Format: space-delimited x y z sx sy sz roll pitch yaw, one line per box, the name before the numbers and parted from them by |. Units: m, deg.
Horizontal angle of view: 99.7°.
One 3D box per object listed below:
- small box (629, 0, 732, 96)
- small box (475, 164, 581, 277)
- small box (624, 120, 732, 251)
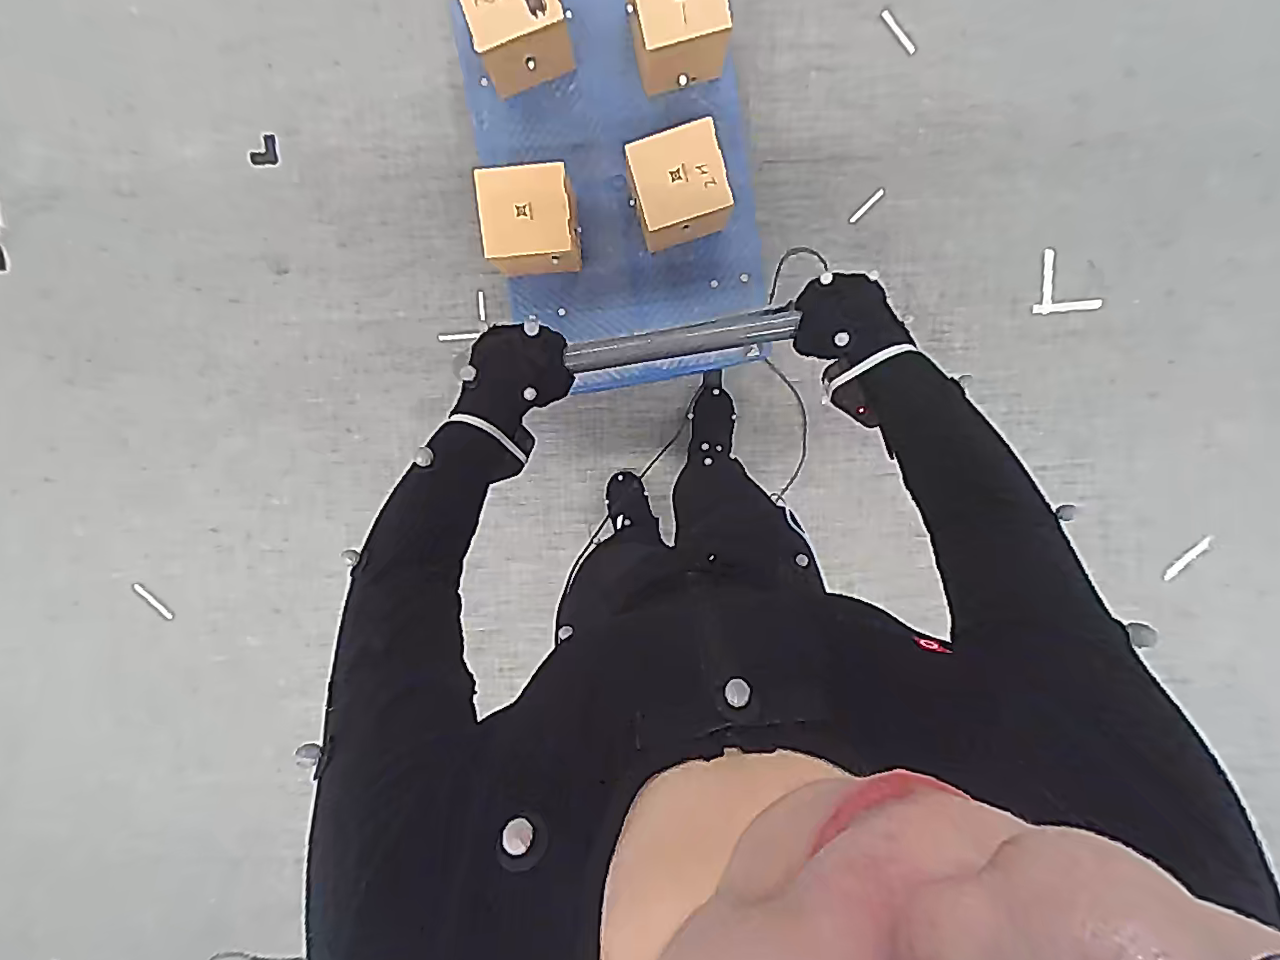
small box | 0.073 -0.906 1.062 0.168 0.176 0.179 -13 100 3
small box | -0.225 -0.532 1.129 0.179 0.176 0.168 -5 99 0
small box | 0.077 -0.592 1.113 0.179 0.176 0.168 -16 99 4
